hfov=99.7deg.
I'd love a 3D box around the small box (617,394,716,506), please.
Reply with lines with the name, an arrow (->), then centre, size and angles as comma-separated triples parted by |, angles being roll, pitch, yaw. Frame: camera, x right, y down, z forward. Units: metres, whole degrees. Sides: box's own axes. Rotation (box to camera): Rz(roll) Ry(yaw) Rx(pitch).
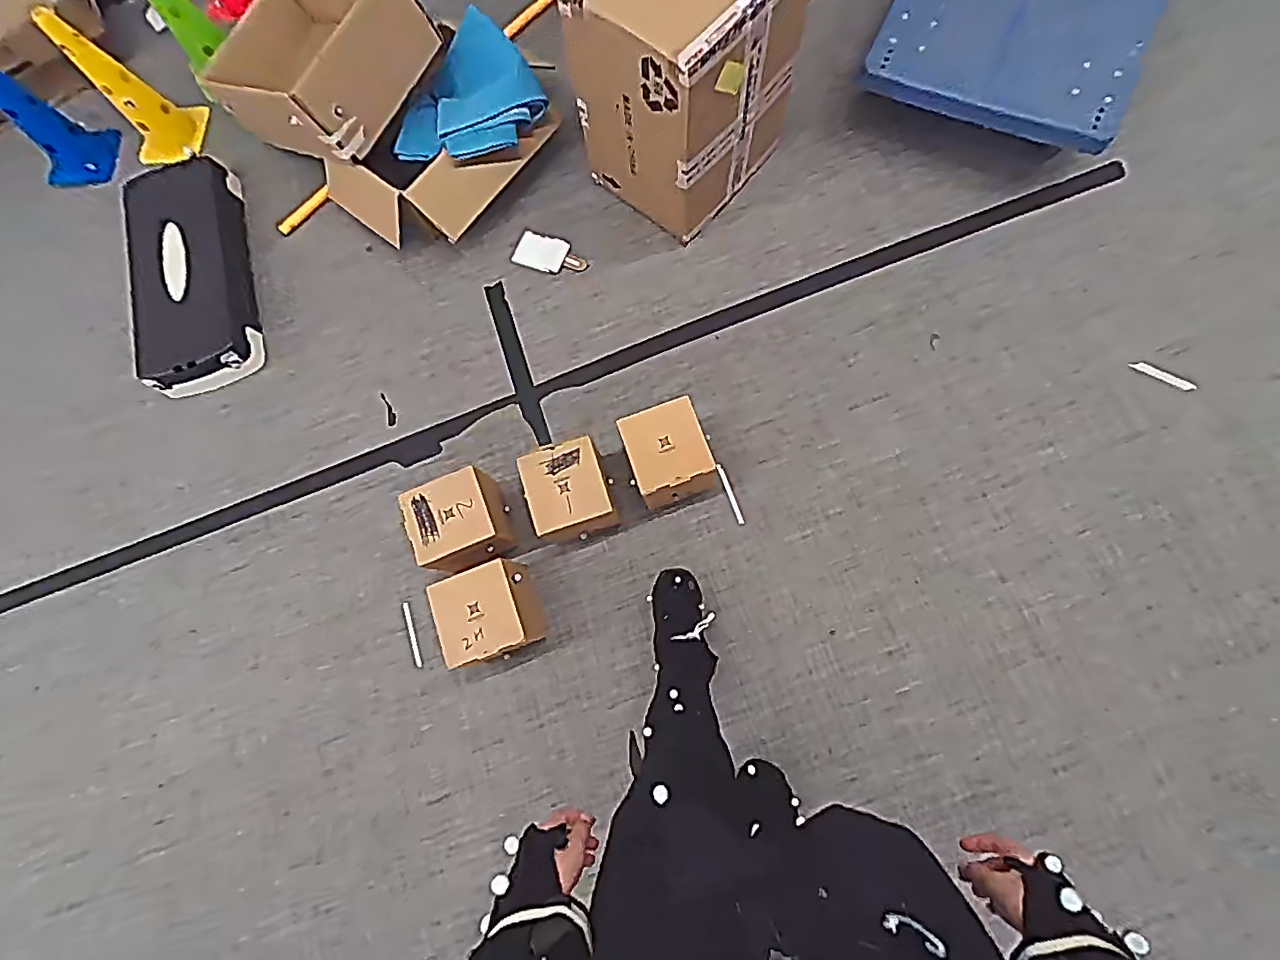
small box -> 0.058, -0.059, 1.199 | 0.168, 0.176, 0.179 | -20, 76, 0

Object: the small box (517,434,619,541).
small box -> -0.153, 0.024, 1.195 | 0.168, 0.176, 0.179 | -18, 77, 1

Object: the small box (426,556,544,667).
small box -> -0.322, 0.279, 1.148 | 0.168, 0.176, 0.179 | -21, 76, 0
